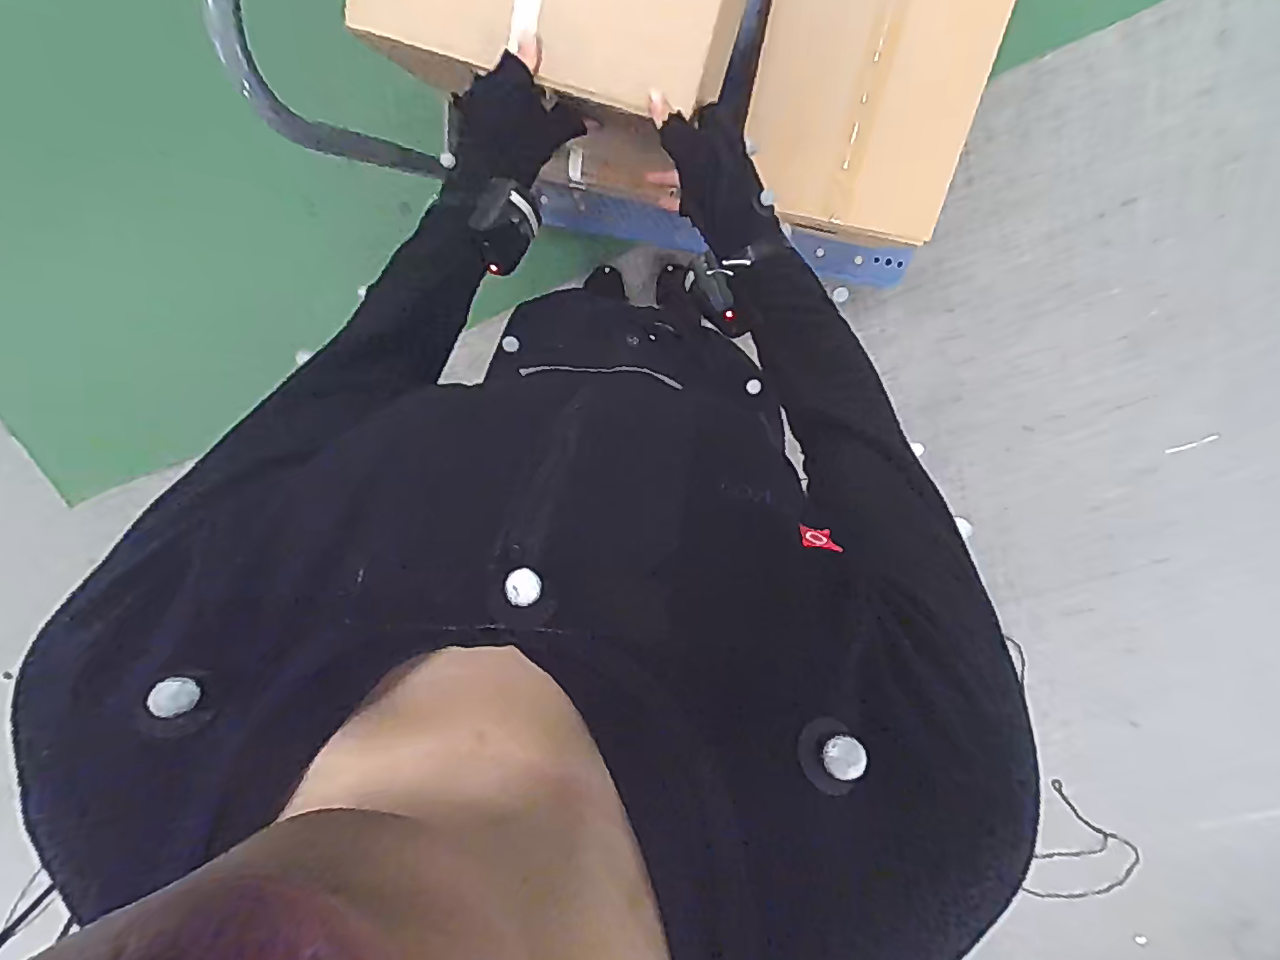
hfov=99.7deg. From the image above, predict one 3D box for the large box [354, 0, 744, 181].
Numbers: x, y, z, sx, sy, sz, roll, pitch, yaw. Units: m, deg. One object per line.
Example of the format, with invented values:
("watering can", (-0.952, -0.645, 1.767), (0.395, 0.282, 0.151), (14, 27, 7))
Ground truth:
("large box", (-0.038, -0.579, 0.542), (0.320, 0.320, 0.408), (17, 110, 0))
